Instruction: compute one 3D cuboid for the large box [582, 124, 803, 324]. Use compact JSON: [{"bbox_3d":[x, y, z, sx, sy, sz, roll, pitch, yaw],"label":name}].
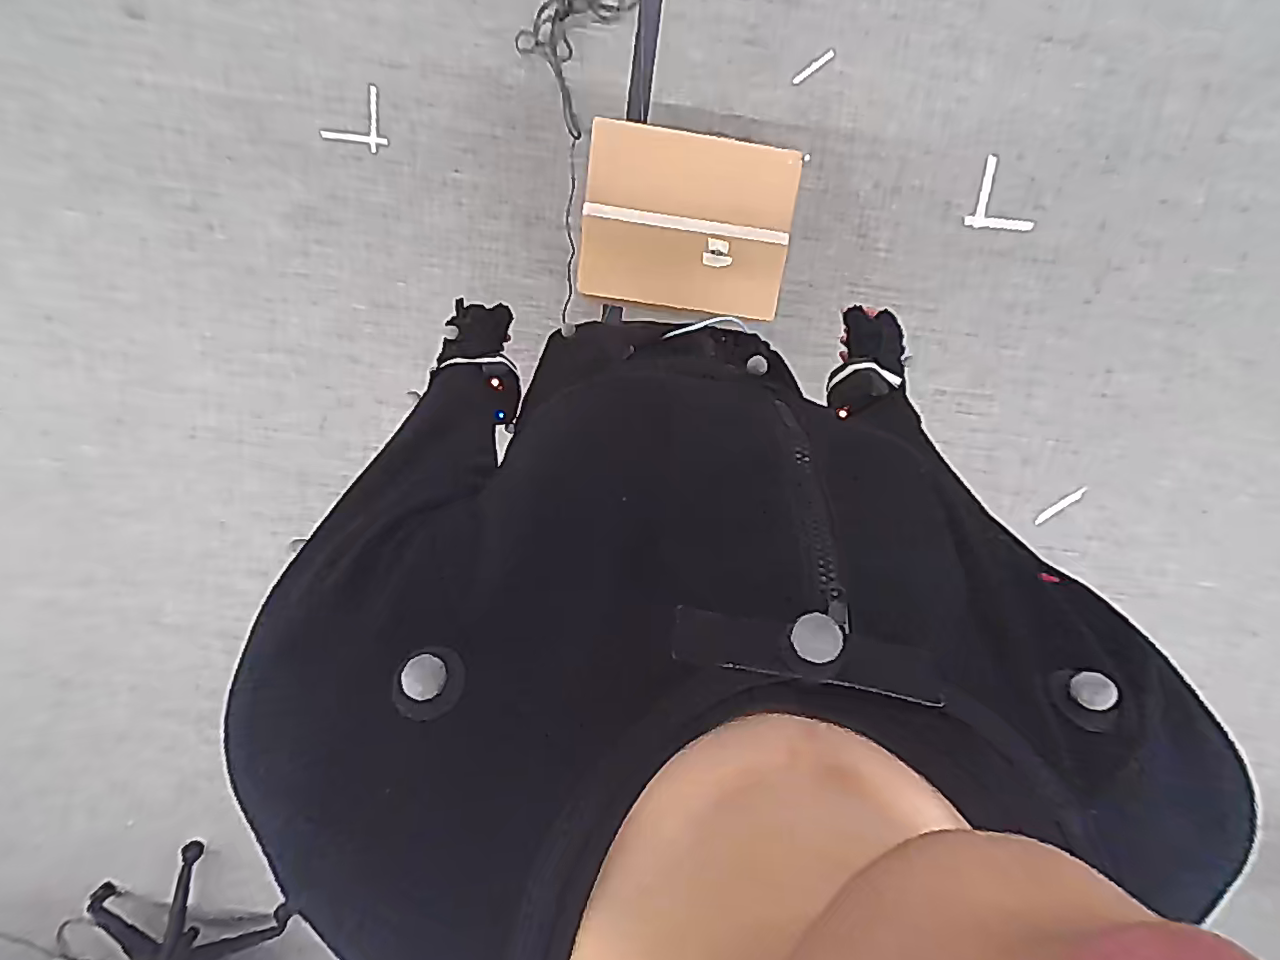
[{"bbox_3d":[0.089,-0.535,1.204,0.408,0.320,0.320,8,105,-5],"label":"large box"}]
